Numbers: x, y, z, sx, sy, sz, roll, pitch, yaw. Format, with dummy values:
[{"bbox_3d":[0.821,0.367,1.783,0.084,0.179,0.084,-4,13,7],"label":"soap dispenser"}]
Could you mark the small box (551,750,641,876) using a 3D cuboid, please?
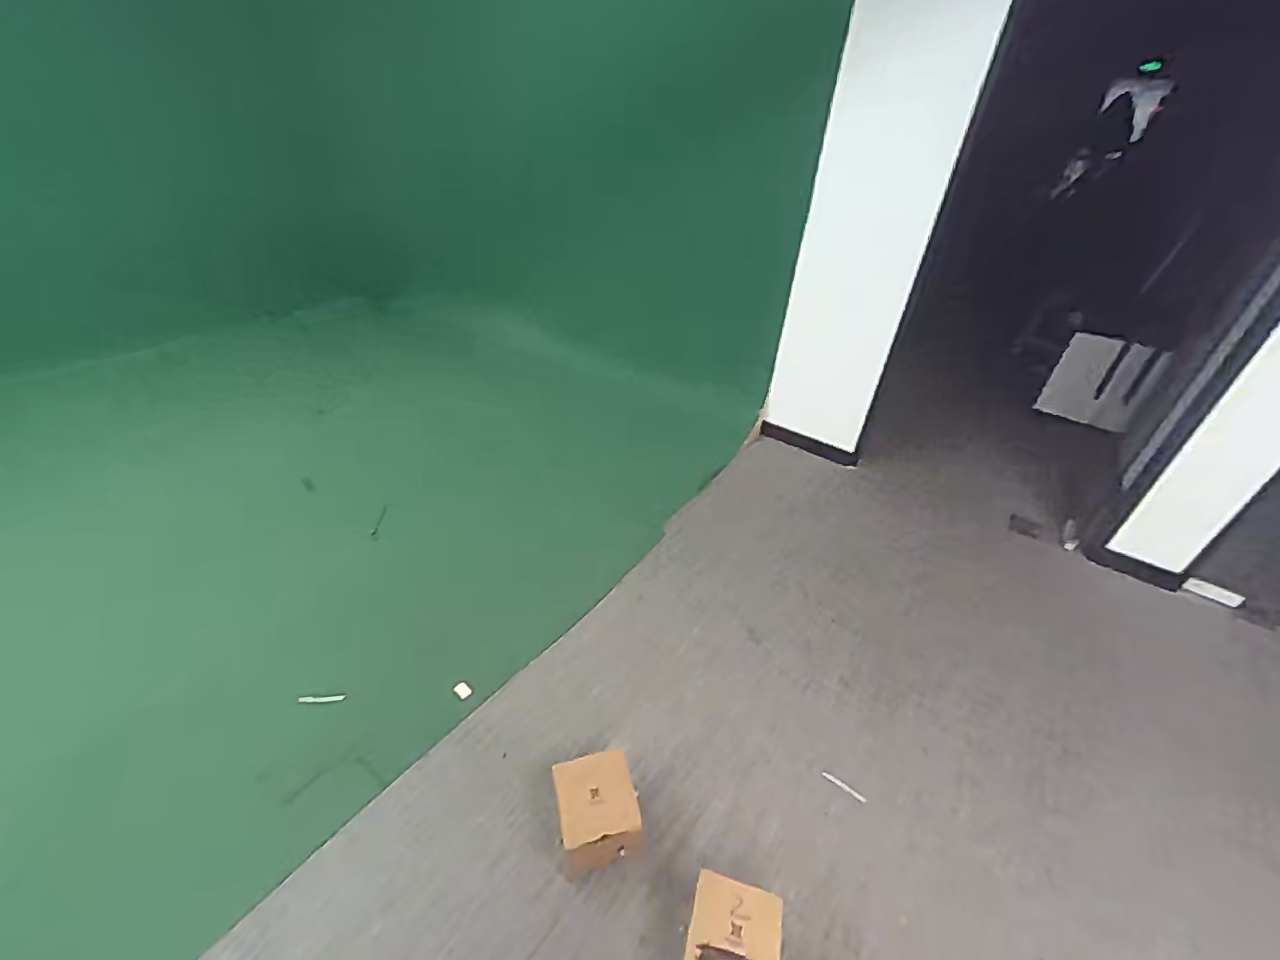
[{"bbox_3d":[-0.101,0.744,1.202,0.168,0.176,0.179,-7,37,-16],"label":"small box"}]
